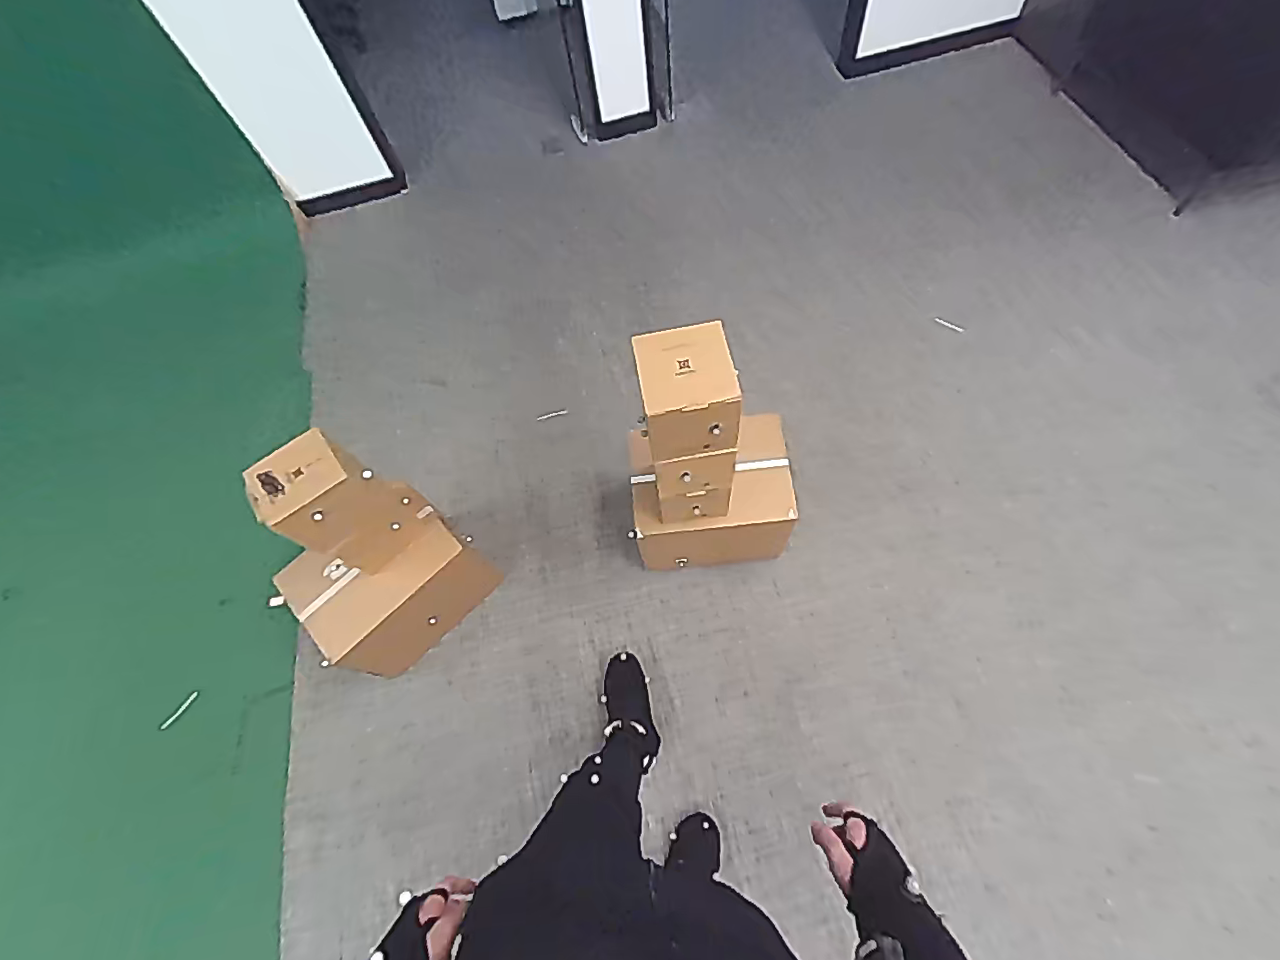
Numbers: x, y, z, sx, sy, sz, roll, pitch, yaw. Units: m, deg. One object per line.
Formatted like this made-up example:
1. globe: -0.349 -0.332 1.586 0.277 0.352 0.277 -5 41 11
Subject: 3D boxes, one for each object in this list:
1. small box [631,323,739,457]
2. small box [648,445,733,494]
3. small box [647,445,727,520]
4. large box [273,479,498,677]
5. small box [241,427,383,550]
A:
1. small box: 0.082 -0.157 1.003 0.168 0.176 0.179 -10 62 0
2. small box: 0.100 -0.082 1.146 0.168 0.176 0.179 -9 63 2
3. small box: 0.112 -0.013 1.293 0.168 0.176 0.179 -9 65 1
4. large box: -0.680 0.280 1.507 0.320 0.320 0.408 40 75 22
5. small box: -0.703 0.025 1.175 0.179 0.176 0.168 -37 66 -12
